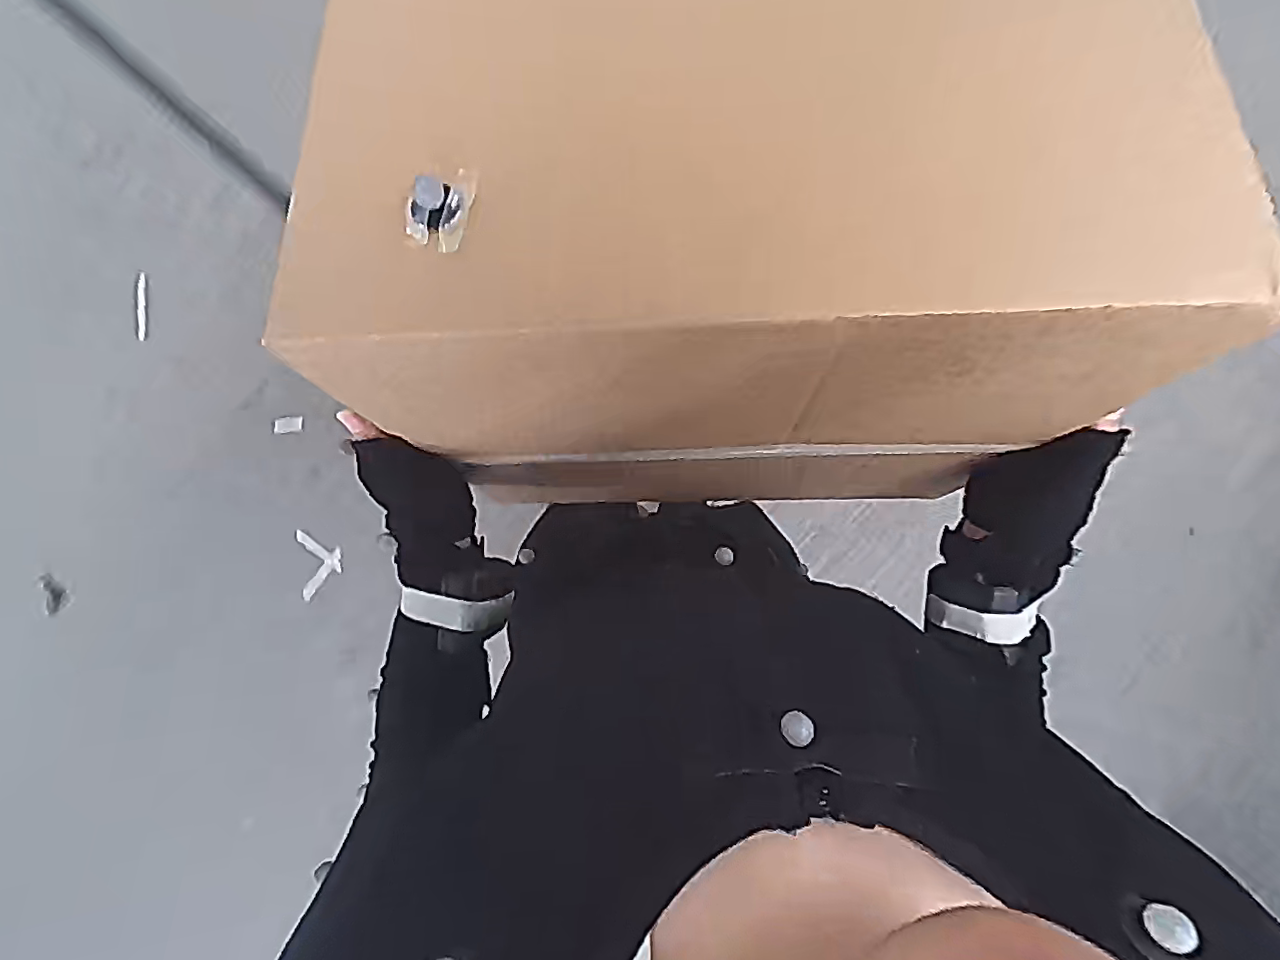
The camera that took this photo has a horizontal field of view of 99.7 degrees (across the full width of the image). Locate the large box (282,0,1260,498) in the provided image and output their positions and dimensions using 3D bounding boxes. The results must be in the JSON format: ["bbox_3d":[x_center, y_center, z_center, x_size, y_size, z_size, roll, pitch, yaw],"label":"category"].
[{"bbox_3d":[0.046,-0.176,0.401,0.408,0.320,0.320,-2,76,3],"label":"large box"}]
